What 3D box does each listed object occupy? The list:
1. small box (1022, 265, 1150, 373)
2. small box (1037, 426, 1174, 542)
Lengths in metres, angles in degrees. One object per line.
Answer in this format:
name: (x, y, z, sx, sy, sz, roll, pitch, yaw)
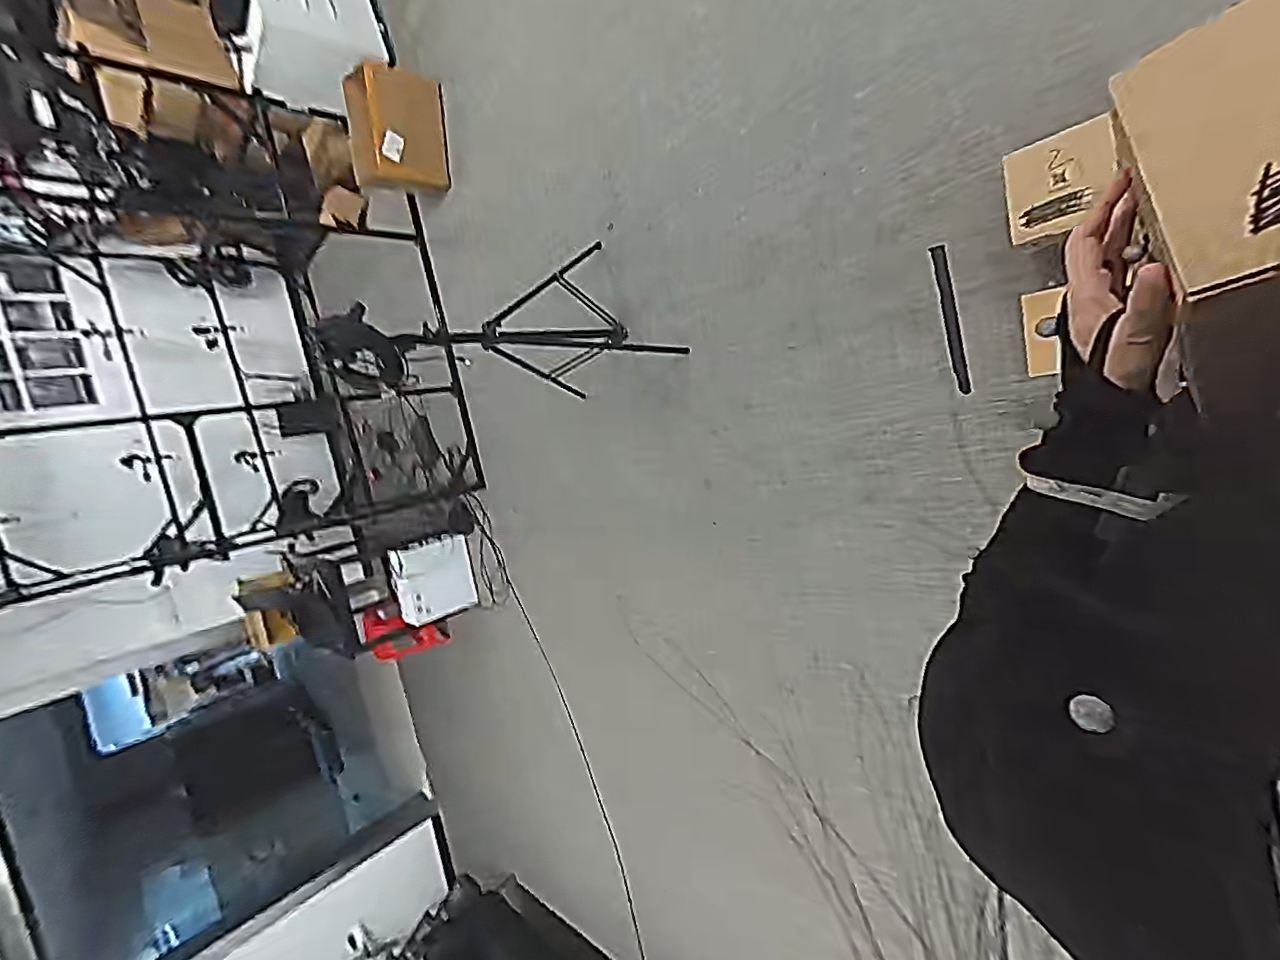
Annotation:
small box: (0.888, -0.313, 1.075, 0.179, 0.176, 0.168, -4, 100, 45)
small box: (0.957, 0.007, 1.109, 0.168, 0.176, 0.179, -25, 85, 46)
